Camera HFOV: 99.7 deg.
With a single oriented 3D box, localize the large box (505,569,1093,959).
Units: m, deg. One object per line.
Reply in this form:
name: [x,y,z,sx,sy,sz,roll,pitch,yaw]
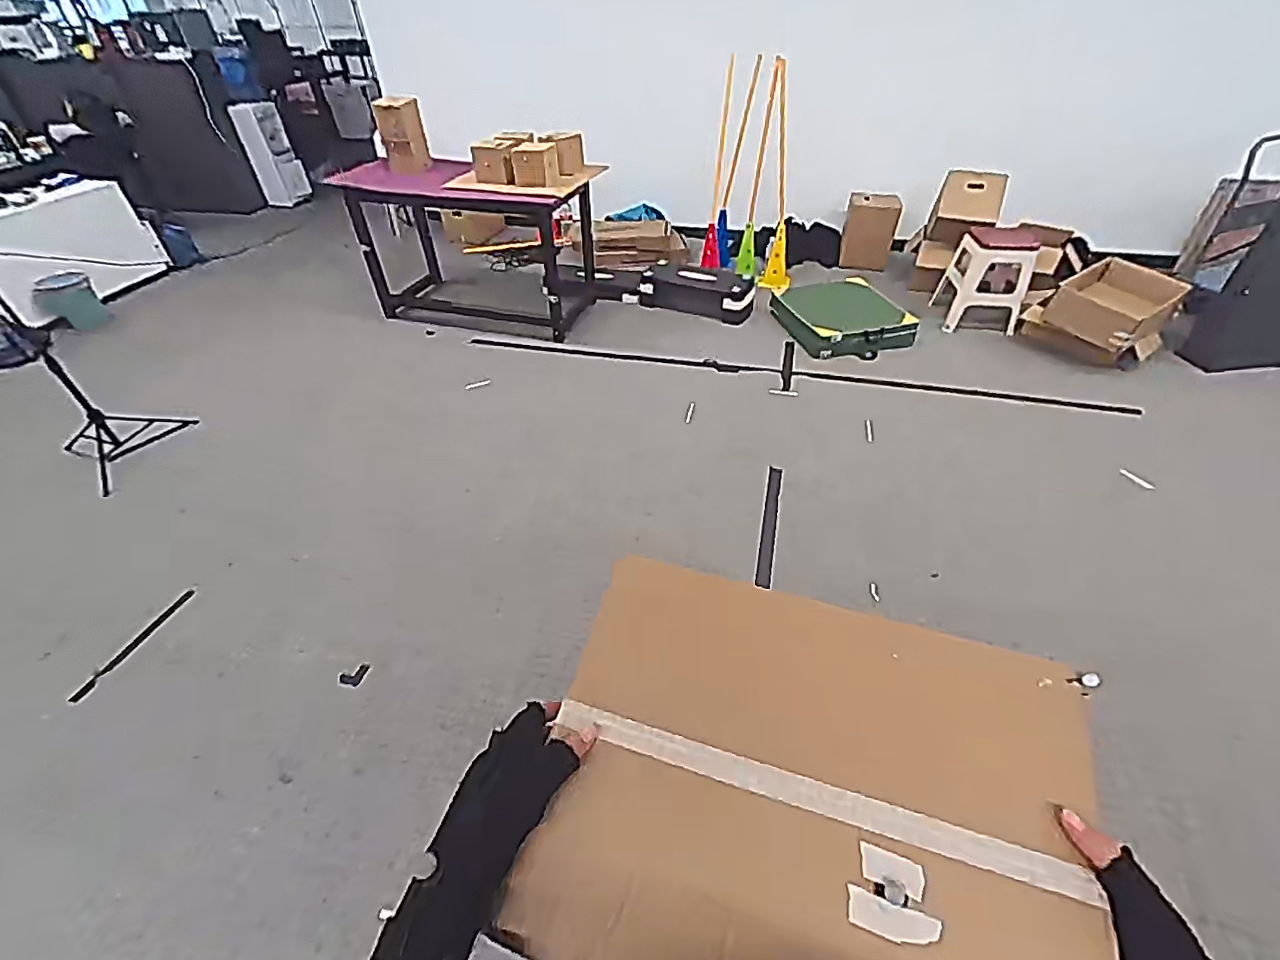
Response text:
large box: [0.139,0.334,0.553,0.408,0.320,0.320,13,58,14]
